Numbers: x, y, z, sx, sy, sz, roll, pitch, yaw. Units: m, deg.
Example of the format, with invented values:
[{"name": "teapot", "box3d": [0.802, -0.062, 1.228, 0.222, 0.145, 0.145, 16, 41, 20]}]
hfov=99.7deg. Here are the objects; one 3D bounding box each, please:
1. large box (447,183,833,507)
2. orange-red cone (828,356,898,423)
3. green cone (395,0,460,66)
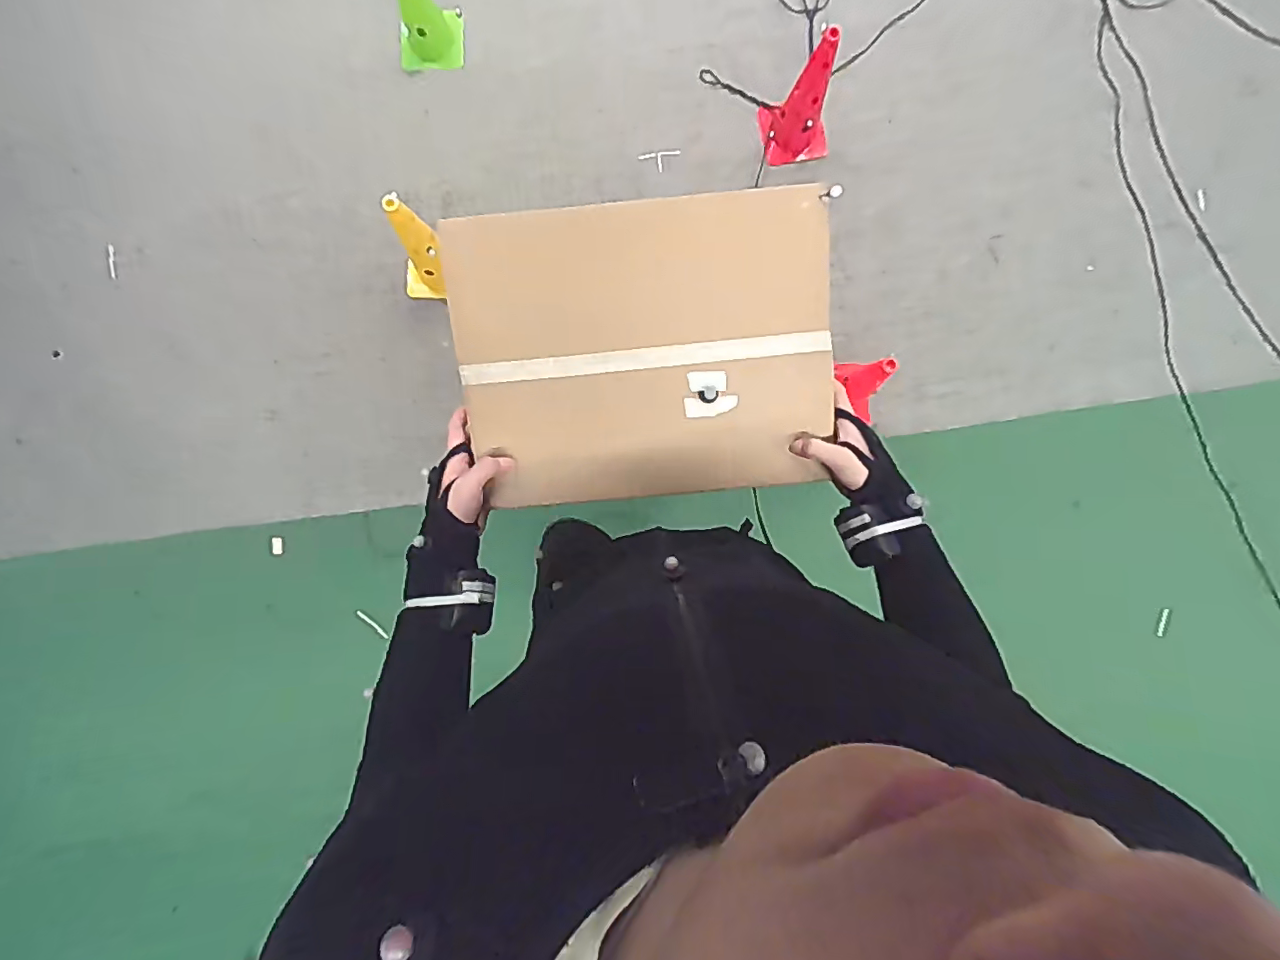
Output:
[{"name": "large box", "box3d": [0.006, -0.169, 0.741, 0.408, 0.320, 0.320, -6, 103, 0]}, {"name": "orange-red cone", "box3d": [0.612, -0.280, 1.500, 0.199, 0.360, 0.198, -1, 88, -2]}, {"name": "green cone", "box3d": [-0.675, -1.424, 1.550, 0.200, 0.368, 0.202, -2, 88, -1]}]
